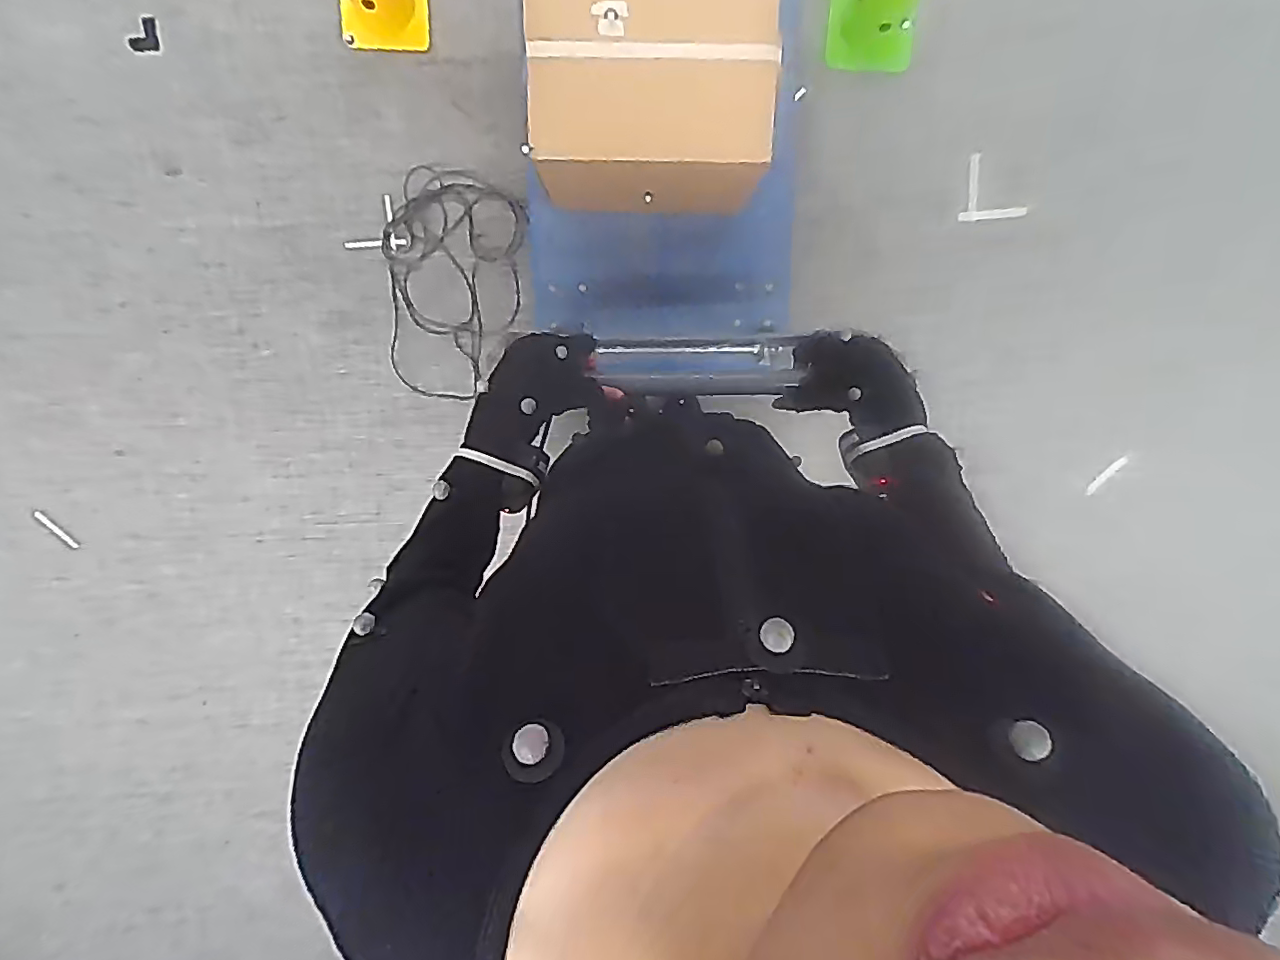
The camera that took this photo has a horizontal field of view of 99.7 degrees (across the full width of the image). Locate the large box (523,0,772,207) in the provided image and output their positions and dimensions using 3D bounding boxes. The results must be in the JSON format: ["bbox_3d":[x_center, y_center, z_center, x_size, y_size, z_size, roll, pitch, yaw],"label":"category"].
[{"bbox_3d":[0.013,-0.716,1.014,0.408,0.320,0.320,0,102,-1],"label":"large box"}]

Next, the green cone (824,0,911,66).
[{"bbox_3d":[0.544,-1.056,1.104,0.202,0.368,0.200,1,102,-3],"label":"green cone"}]
